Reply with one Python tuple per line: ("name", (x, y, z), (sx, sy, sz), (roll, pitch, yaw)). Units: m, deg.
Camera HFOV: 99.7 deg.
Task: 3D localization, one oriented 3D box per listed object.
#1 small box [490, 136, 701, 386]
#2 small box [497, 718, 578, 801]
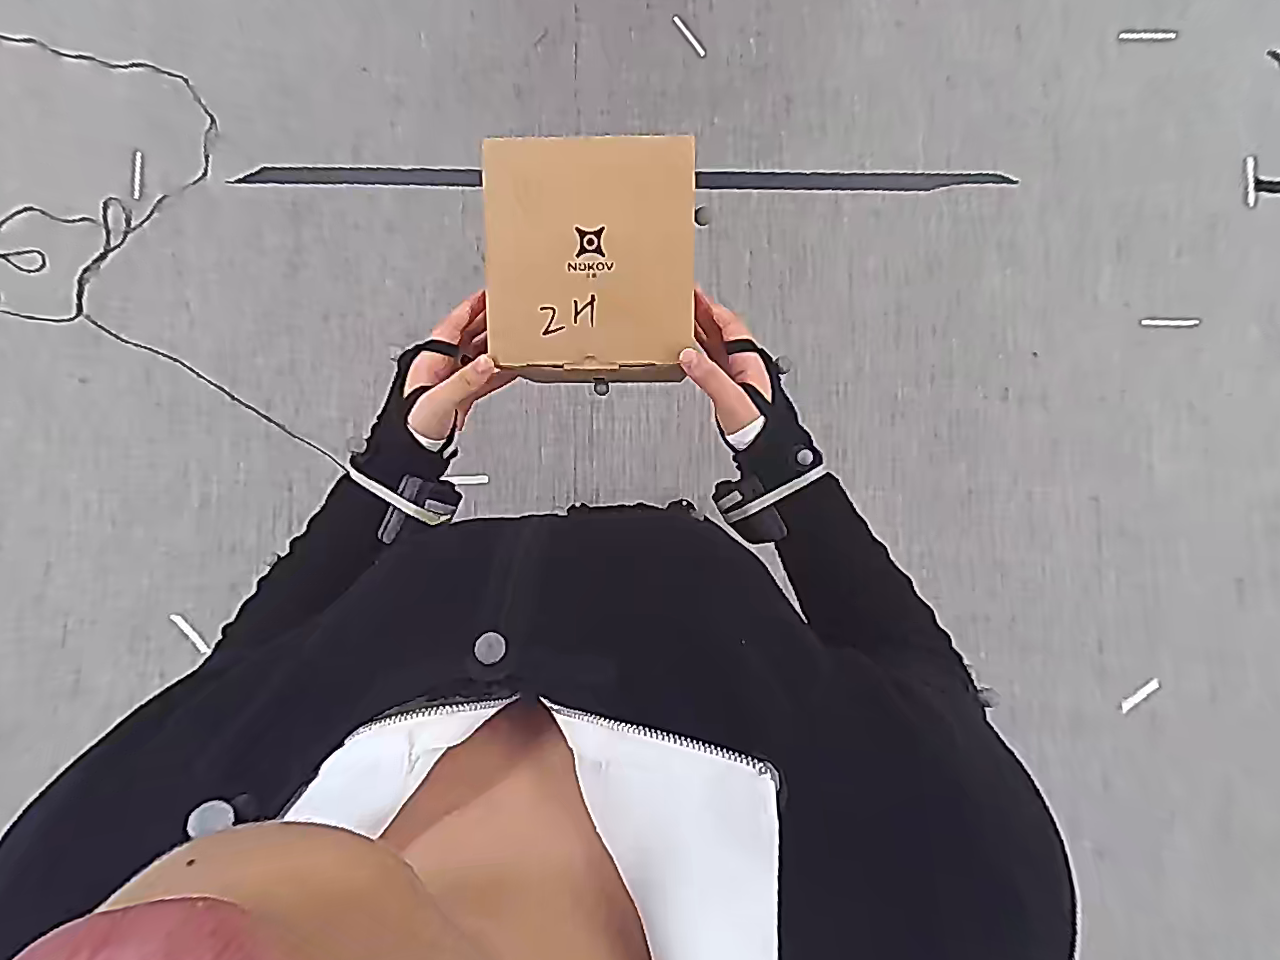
("small box", (-0.035, -0.184, 0.502), (0.168, 0.176, 0.179), (0, 95, 2))
("small box", (-0.242, 0.688, 1.303), (0.168, 0.176, 0.179), (-2, 88, 1))
